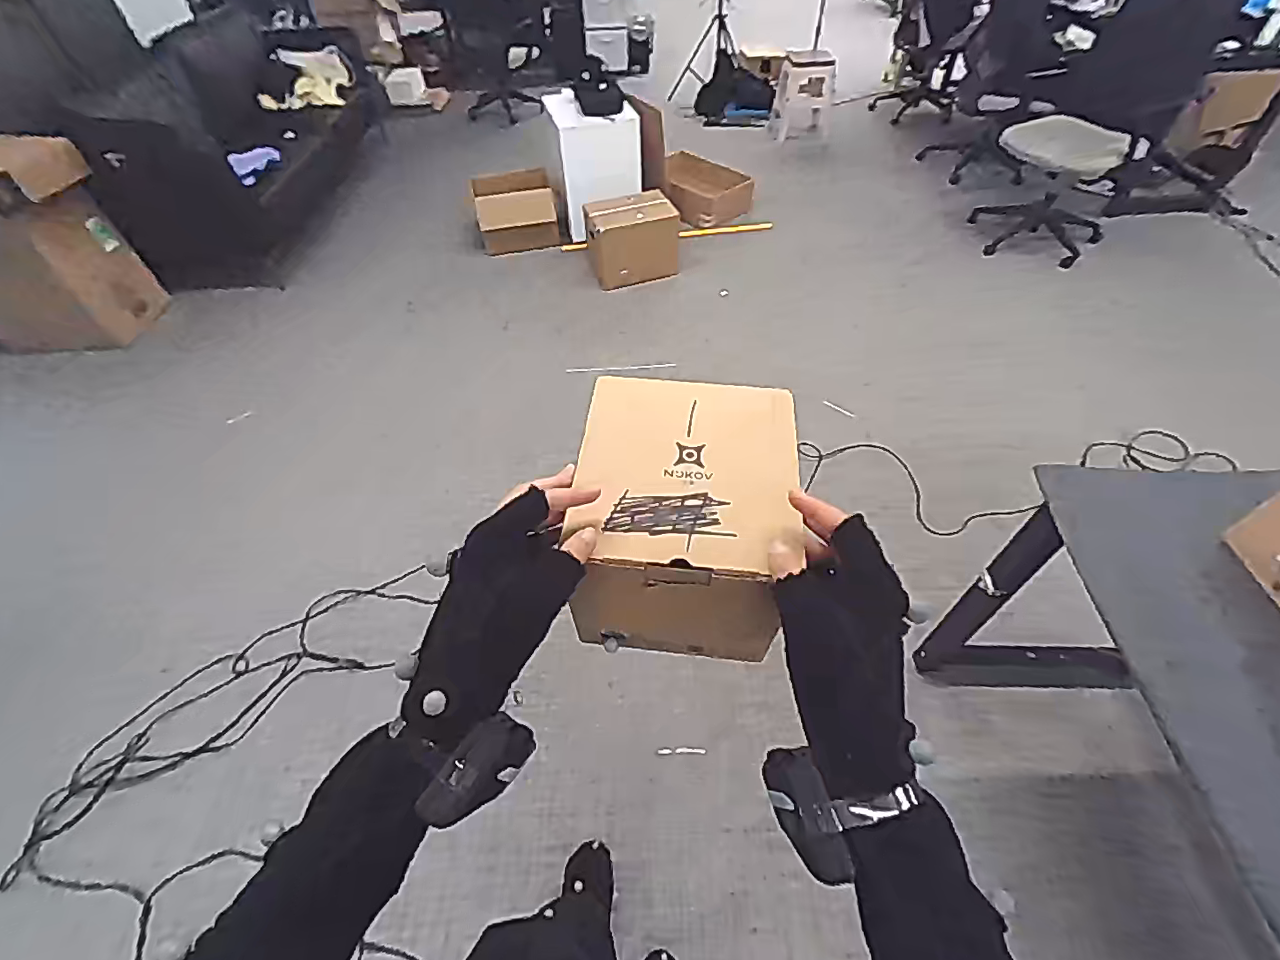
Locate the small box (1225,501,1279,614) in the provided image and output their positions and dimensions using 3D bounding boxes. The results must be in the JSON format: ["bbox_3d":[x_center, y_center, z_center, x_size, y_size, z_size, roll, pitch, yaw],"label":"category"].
[{"bbox_3d":[0.993,0.097,0.735,0.179,0.176,0.168,-1,49,2],"label":"small box"}]

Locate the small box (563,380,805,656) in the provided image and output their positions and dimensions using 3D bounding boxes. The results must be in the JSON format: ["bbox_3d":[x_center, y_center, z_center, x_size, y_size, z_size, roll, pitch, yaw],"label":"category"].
[{"bbox_3d":[0.040,0.038,0.471,0.168,0.176,0.179,5,53,5],"label":"small box"}]
